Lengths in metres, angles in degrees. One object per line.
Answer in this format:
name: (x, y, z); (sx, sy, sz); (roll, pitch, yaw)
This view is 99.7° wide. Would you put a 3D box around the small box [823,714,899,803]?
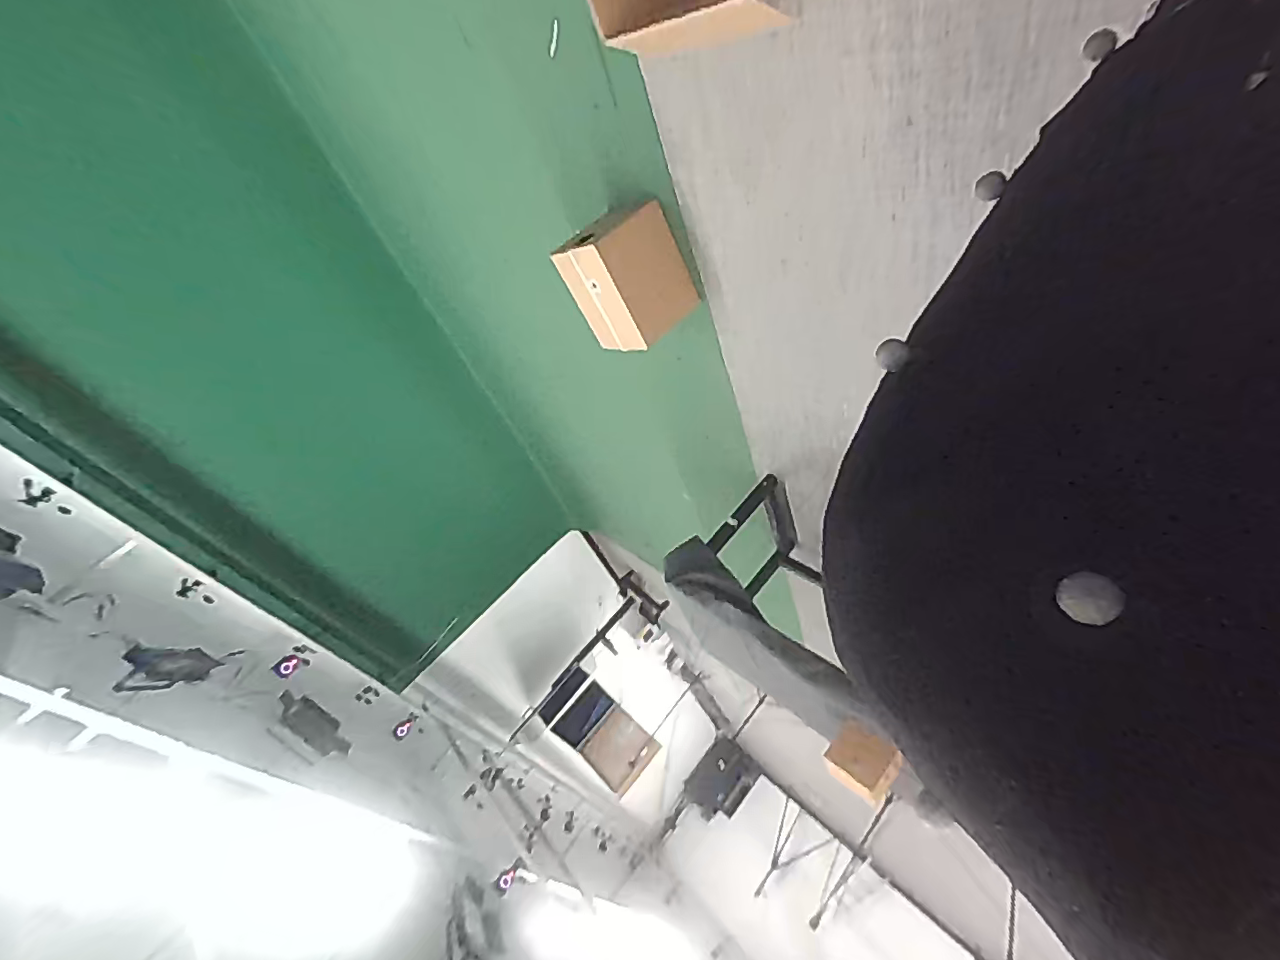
small box: (0.736, 0.918, 1.789); (0.179, 0.176, 0.168); (28, 154, 44)
